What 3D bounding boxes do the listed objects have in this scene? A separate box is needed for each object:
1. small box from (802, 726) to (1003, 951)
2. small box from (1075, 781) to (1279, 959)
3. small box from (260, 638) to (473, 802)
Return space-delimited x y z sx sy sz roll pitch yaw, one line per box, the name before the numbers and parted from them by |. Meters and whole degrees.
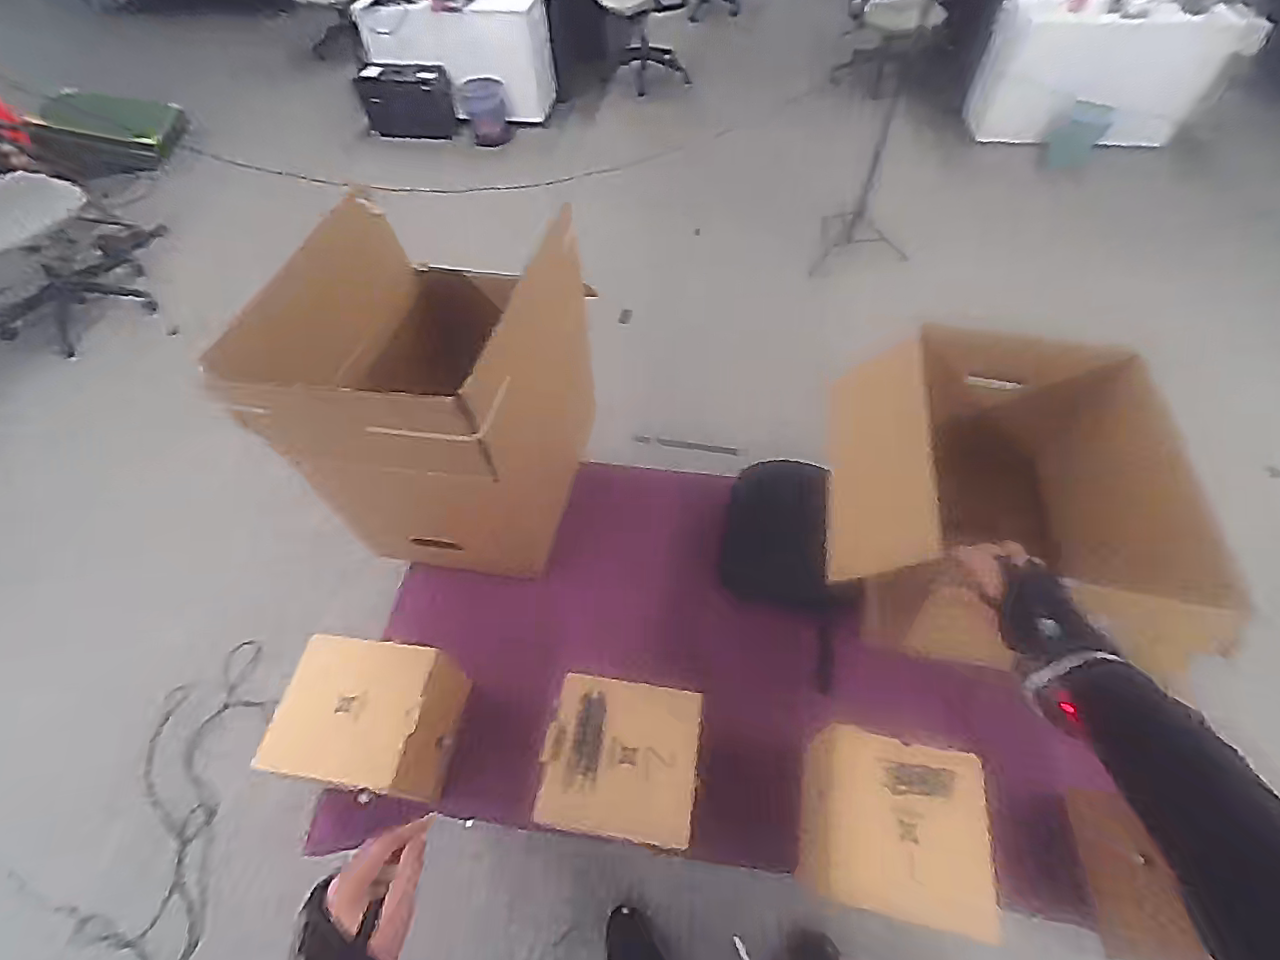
small box | 0.299 0.422 0.653 0.168 0.176 0.179 10 57 9
small box | 0.644 0.461 0.610 0.168 0.176 0.179 6 56 8
small box | -0.353 0.332 0.740 0.179 0.176 0.168 6 55 4
